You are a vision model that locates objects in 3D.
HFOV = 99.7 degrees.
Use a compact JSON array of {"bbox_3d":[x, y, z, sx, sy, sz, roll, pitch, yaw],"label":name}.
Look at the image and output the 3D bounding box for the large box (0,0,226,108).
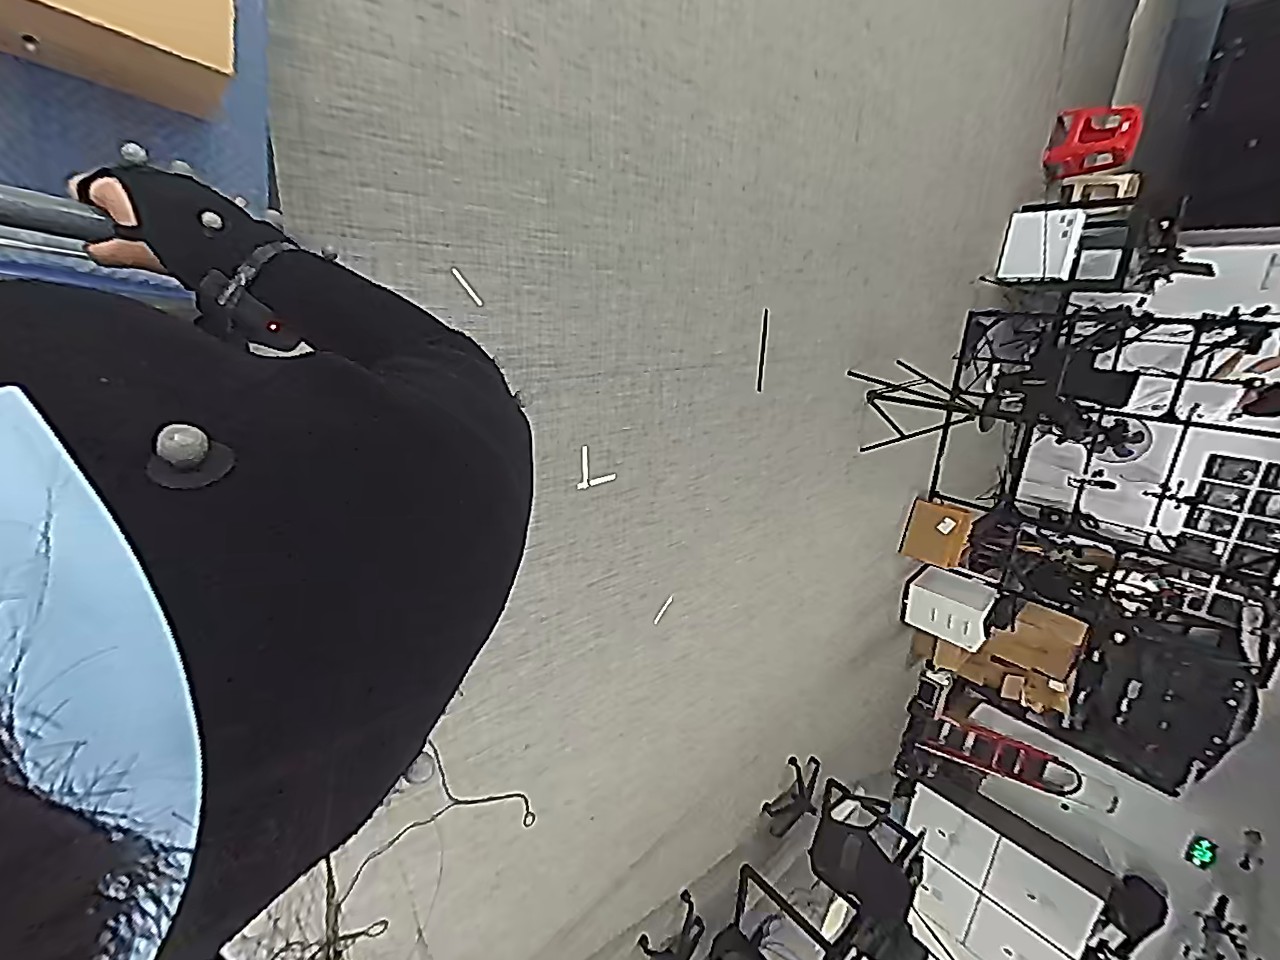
[{"bbox_3d":[-0.786,-0.742,0.678,0.408,0.320,0.320,-2,106,-42],"label":"large box"}]
